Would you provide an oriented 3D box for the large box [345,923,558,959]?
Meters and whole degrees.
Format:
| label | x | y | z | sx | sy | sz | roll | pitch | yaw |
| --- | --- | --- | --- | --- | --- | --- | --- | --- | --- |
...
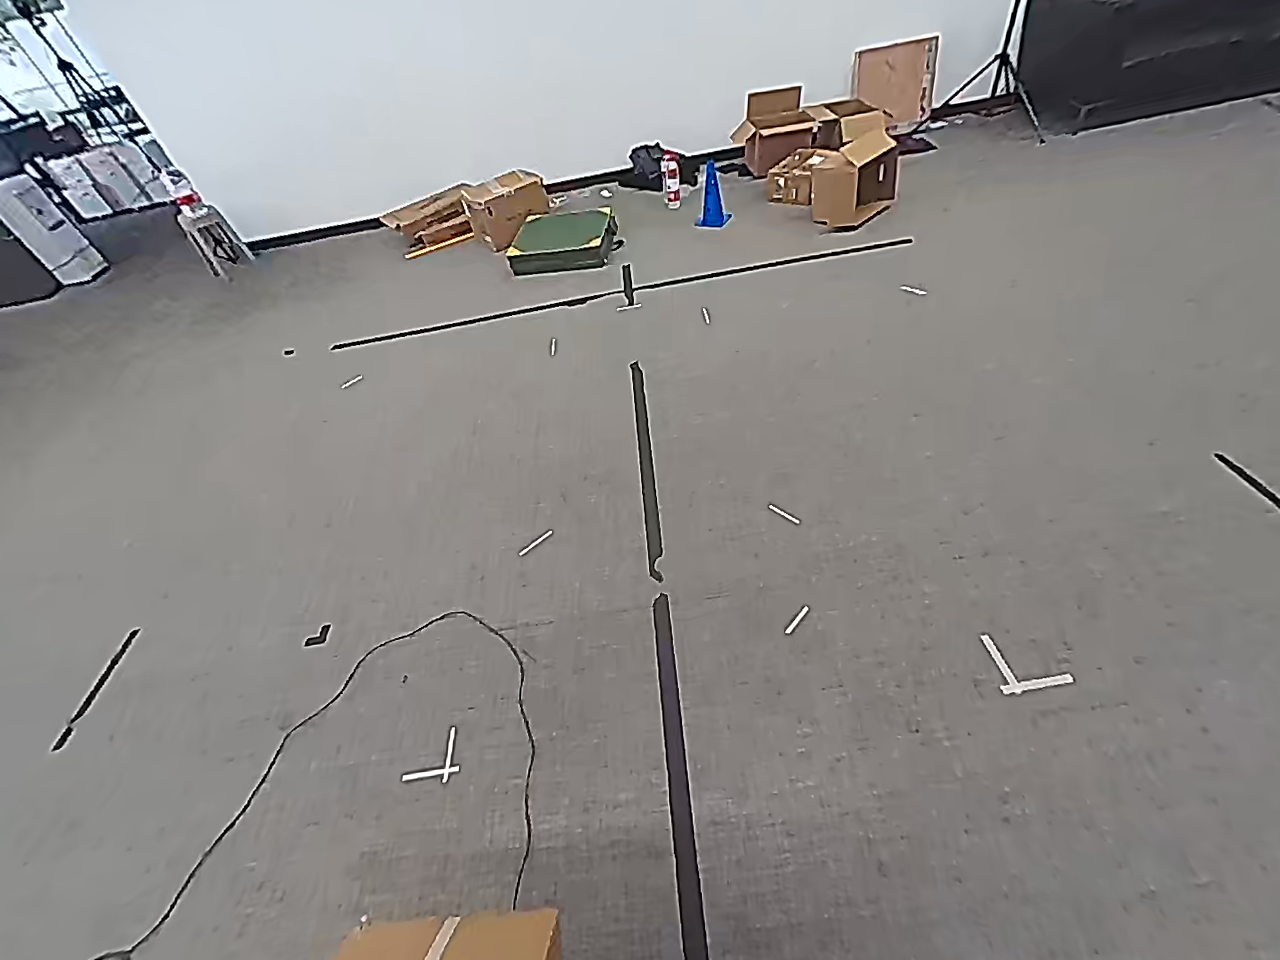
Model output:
| label | x | y | z | sx | sy | sz | roll | pitch | yaw |
| --- | --- | --- | --- | --- | --- | --- | --- | --- | --- |
| large box | -0.267 | 0.806 | 0.597 | 0.320 | 0.408 | 0.320 | -6 | 85 | 4 |
